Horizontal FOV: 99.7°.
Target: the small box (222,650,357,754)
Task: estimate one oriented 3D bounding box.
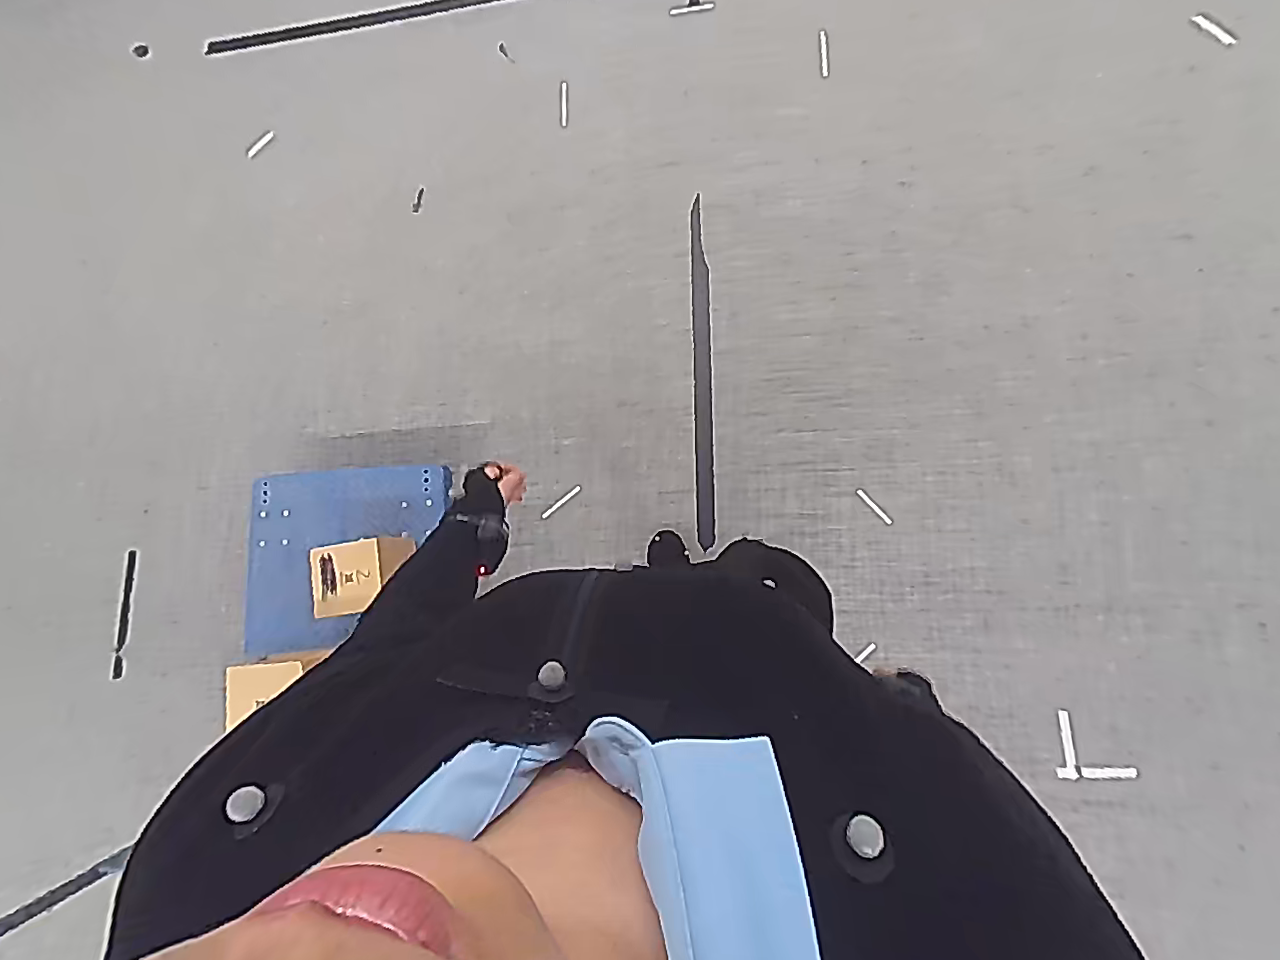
[{"bbox_3d":[-0.732,0.462,1.142,0.179,0.176,0.168,-7,82,6],"label":"small box"}]
